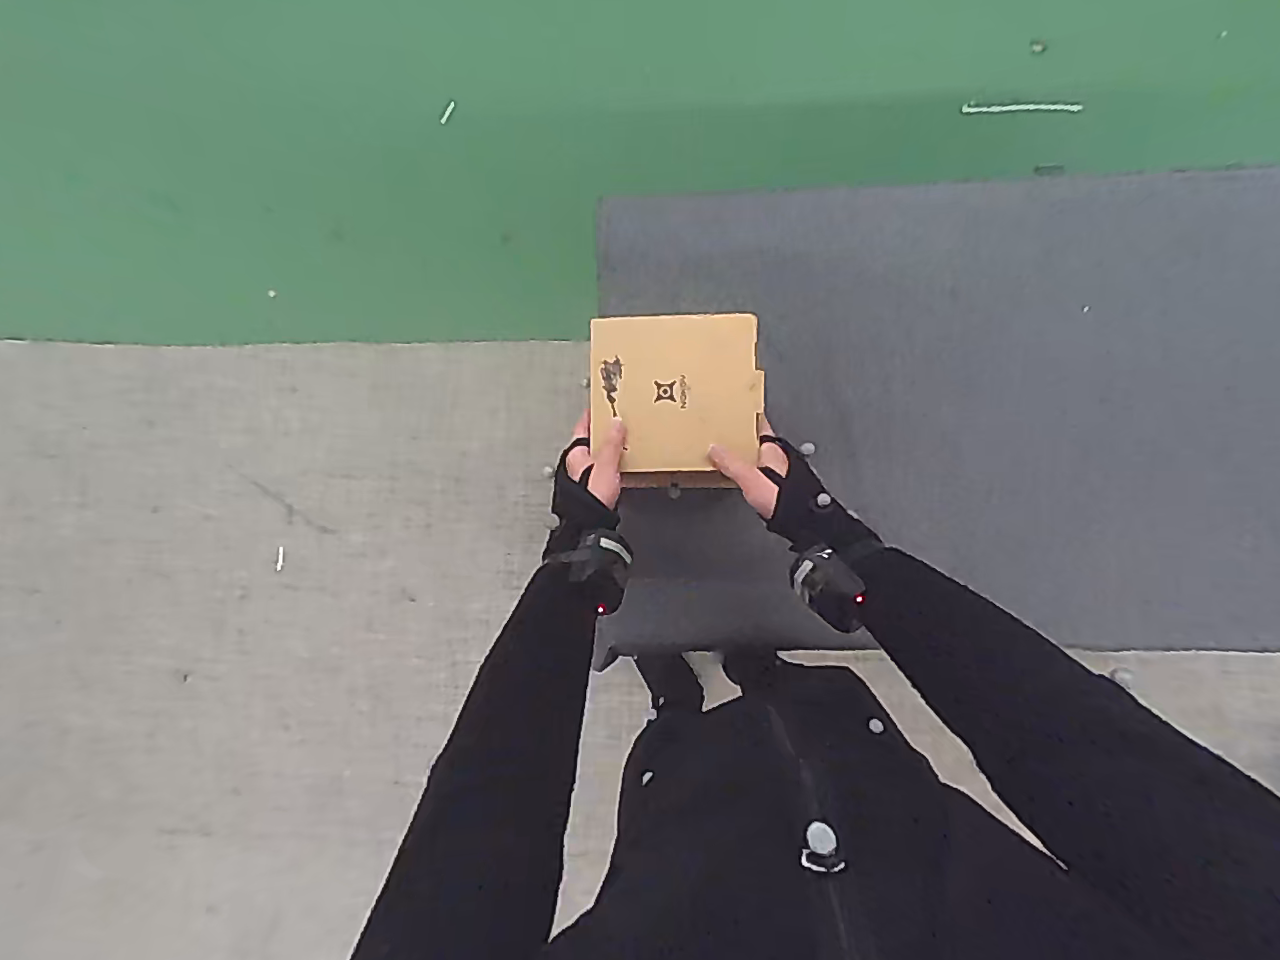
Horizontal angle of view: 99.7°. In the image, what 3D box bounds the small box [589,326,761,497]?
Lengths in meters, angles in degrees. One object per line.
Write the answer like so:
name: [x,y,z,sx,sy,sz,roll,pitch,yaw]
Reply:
small box: [0.039,-0.070,0.633,0.179,0.176,0.168,-1,83,3]
